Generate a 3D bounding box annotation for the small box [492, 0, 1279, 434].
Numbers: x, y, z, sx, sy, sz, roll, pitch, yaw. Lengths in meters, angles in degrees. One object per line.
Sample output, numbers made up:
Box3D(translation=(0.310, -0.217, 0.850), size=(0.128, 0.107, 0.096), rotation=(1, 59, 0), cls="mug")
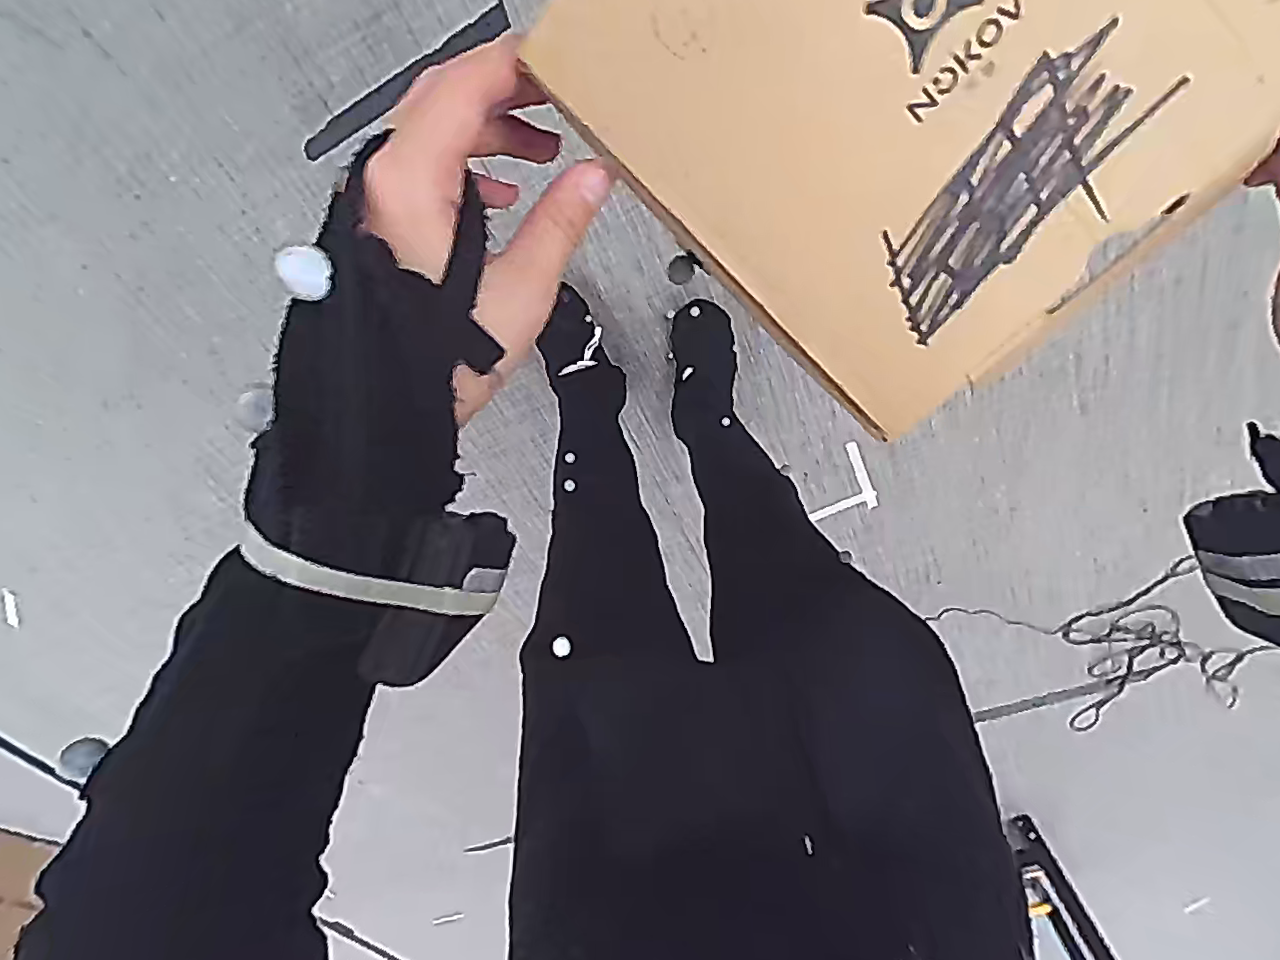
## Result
Box3D(translation=(0.080, -0.154, 0.218), size=(0.179, 0.176, 0.168), rotation=(41, 109, -13), cls="small box")
